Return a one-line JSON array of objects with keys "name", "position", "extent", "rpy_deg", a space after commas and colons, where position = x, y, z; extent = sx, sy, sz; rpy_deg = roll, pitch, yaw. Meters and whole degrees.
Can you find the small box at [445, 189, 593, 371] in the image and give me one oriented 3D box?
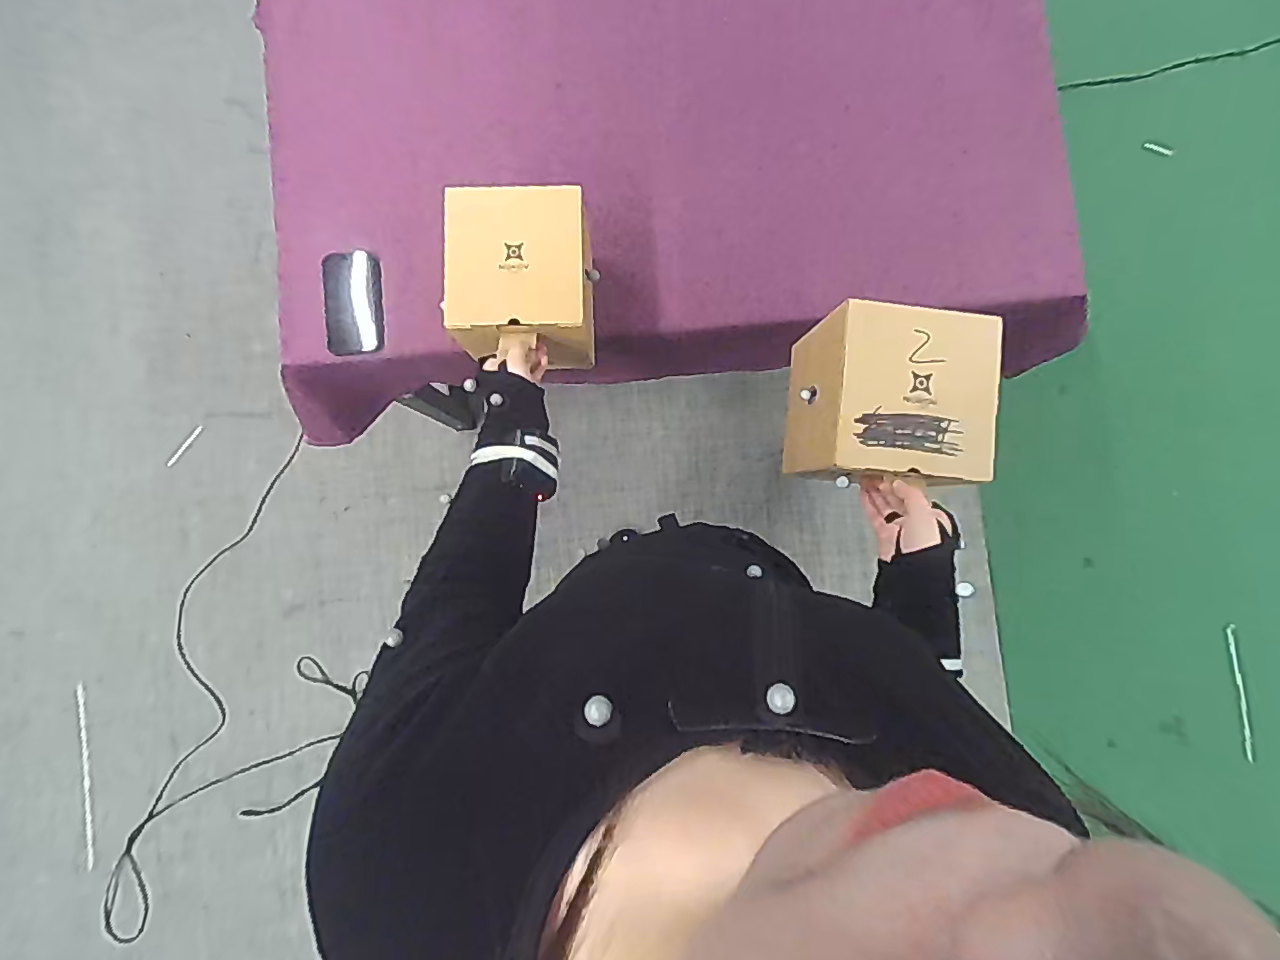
[{"name": "small box", "position": [-0.151, -0.255, 0.722], "extent": [0.168, 0.176, 0.179], "rpy_deg": [-1, 85, -2]}]
